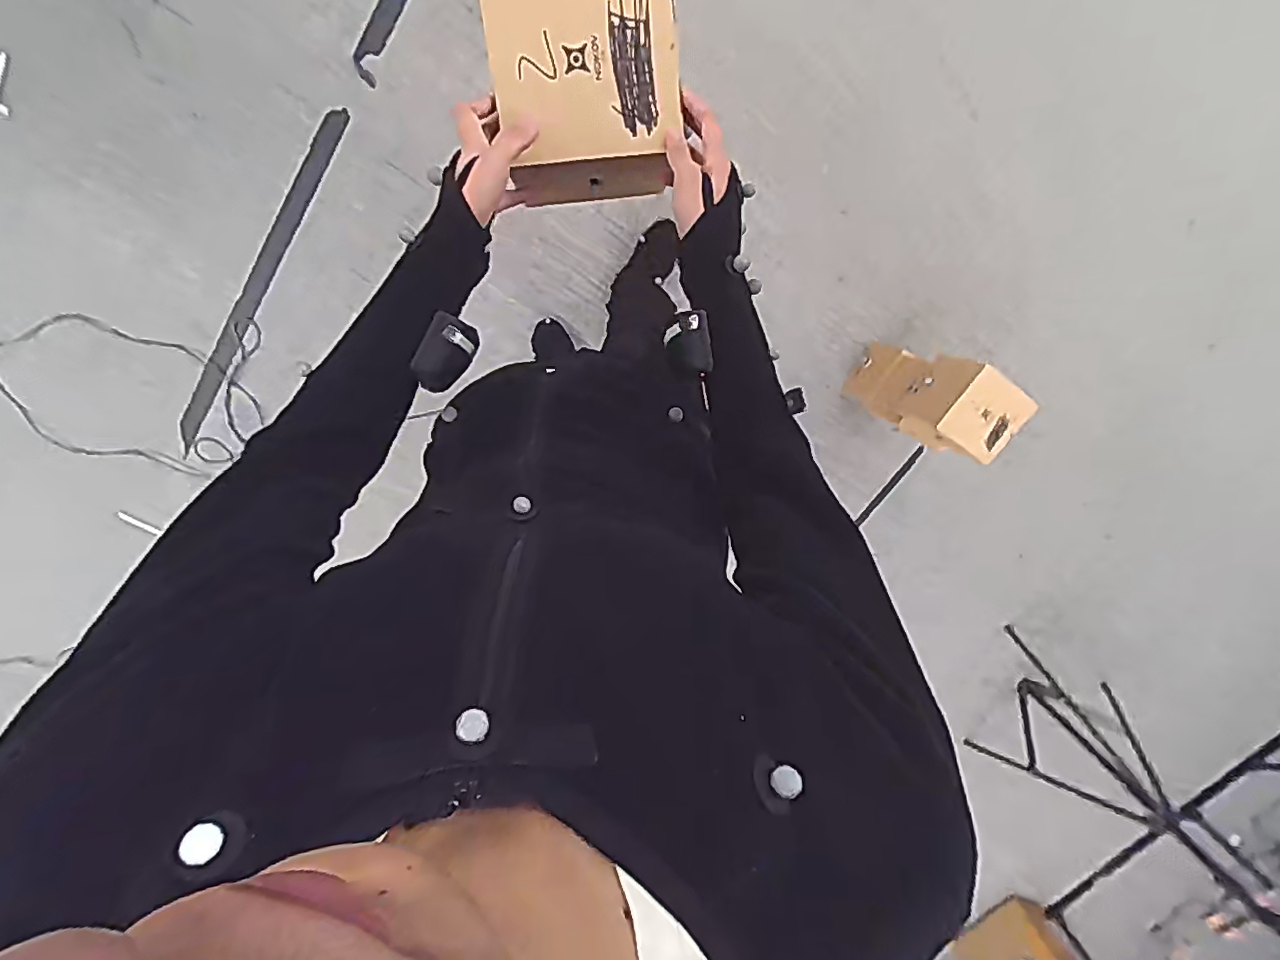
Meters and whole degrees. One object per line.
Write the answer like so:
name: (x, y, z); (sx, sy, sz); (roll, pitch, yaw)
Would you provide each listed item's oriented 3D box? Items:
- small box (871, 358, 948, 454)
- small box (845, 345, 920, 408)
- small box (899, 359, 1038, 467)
small box: (0.745, -0.200, 1.414); (0.168, 0.176, 0.179); (27, 107, -15)
small box: (0.734, -0.274, 1.561); (0.179, 0.176, 0.168); (28, 106, -15)
small box: (0.750, -0.163, 1.252); (0.179, 0.176, 0.168); (31, 104, -16)
